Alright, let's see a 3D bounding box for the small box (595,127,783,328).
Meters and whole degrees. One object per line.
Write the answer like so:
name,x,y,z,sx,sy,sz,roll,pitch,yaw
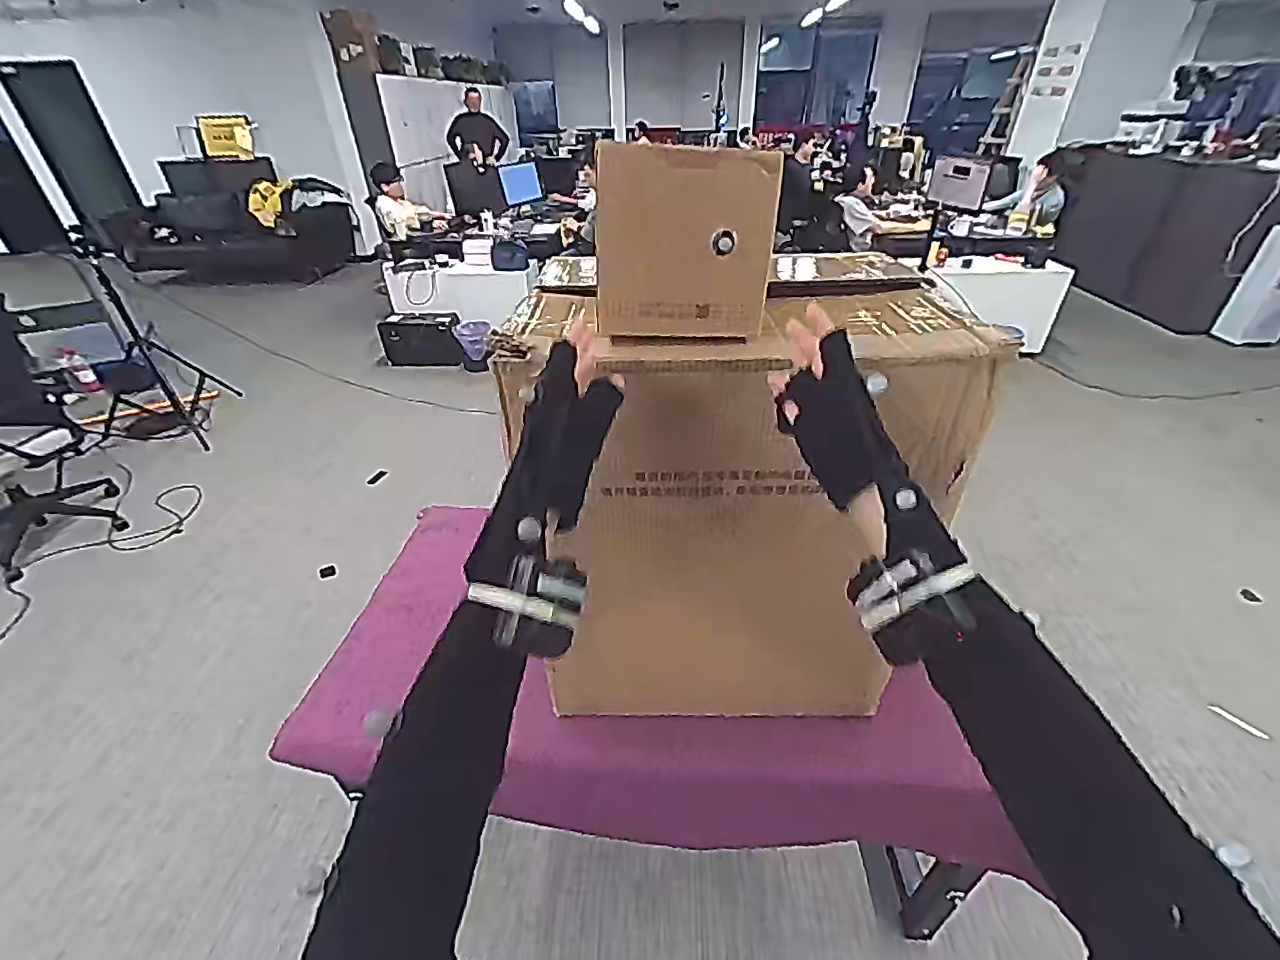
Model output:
small box,0.040,-0.265,0.573,0.168,0.176,0.179,2,29,-3
